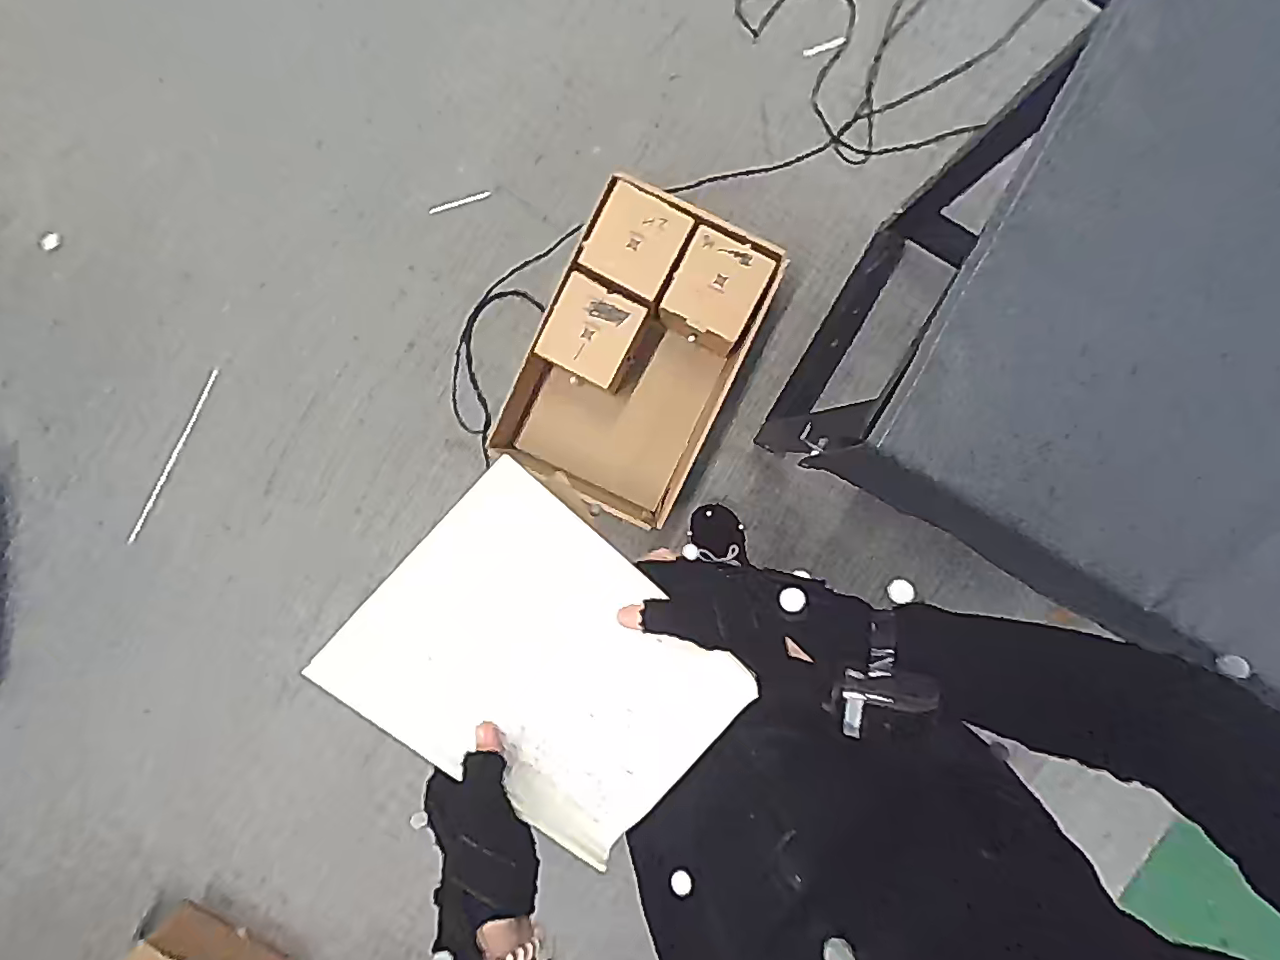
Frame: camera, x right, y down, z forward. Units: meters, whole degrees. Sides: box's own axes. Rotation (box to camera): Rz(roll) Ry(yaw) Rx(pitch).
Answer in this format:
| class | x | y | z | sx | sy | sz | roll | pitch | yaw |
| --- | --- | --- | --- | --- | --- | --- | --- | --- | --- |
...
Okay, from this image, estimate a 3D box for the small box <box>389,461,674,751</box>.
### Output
| class | x | y | z | sx | sy | sz | roll | pitch | yaw |
| --- | --- | --- | --- | --- | --- | --- | --- | --- | --- |
| small box | -0.095 | 0.103 | 0.507 | 0.168 | 0.176 | 0.179 | -32 | 91 | -8 |
